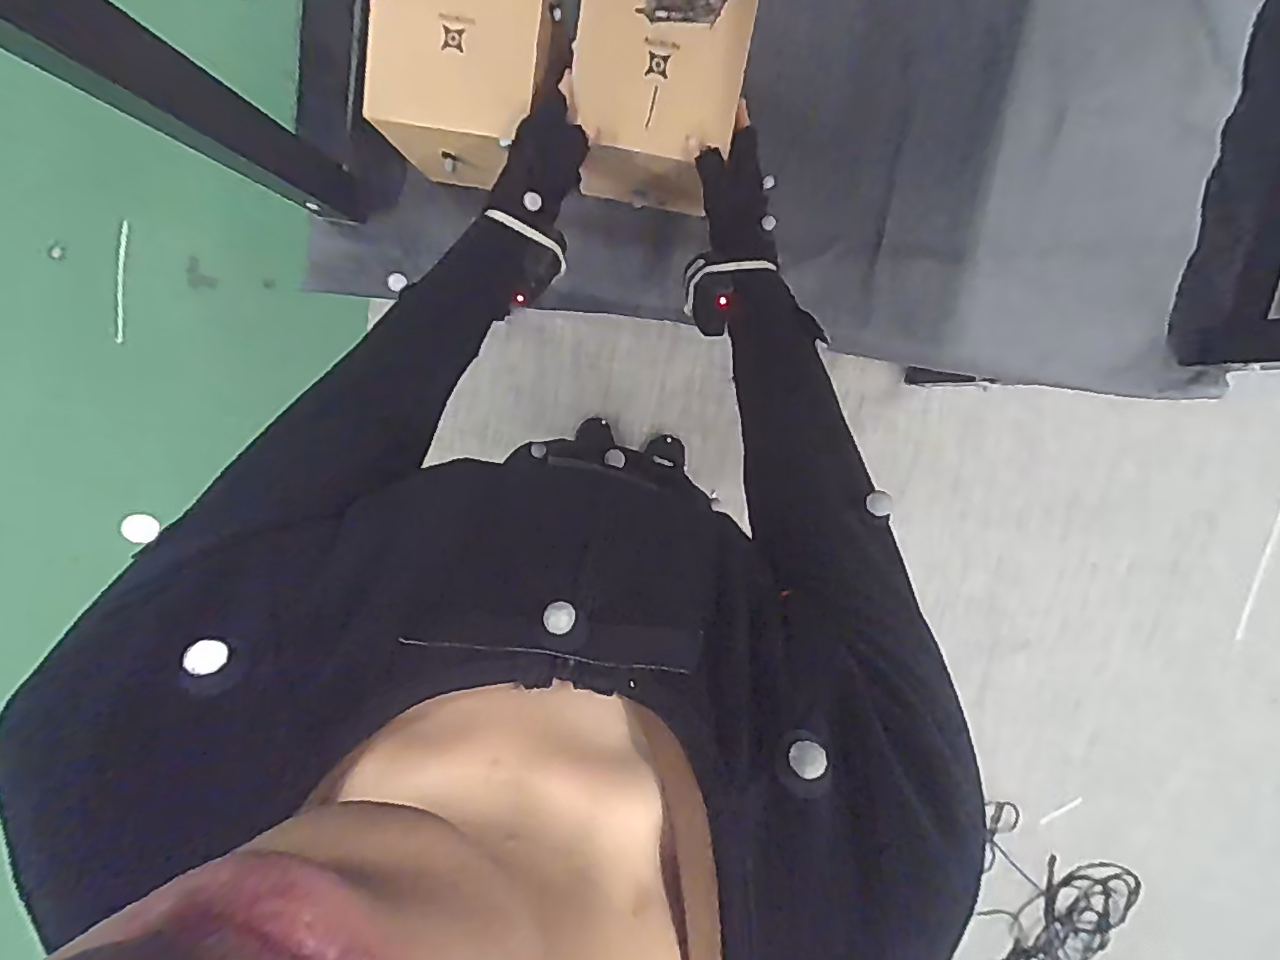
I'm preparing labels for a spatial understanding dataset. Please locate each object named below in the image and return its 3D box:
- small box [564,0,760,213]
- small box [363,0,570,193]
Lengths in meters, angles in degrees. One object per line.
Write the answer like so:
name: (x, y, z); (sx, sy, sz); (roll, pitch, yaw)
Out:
small box: (0.021, -0.421, 0.591); (0.168, 0.176, 0.179); (10, 101, -1)
small box: (-0.176, -0.441, 0.593); (0.168, 0.176, 0.179); (8, 99, -1)
